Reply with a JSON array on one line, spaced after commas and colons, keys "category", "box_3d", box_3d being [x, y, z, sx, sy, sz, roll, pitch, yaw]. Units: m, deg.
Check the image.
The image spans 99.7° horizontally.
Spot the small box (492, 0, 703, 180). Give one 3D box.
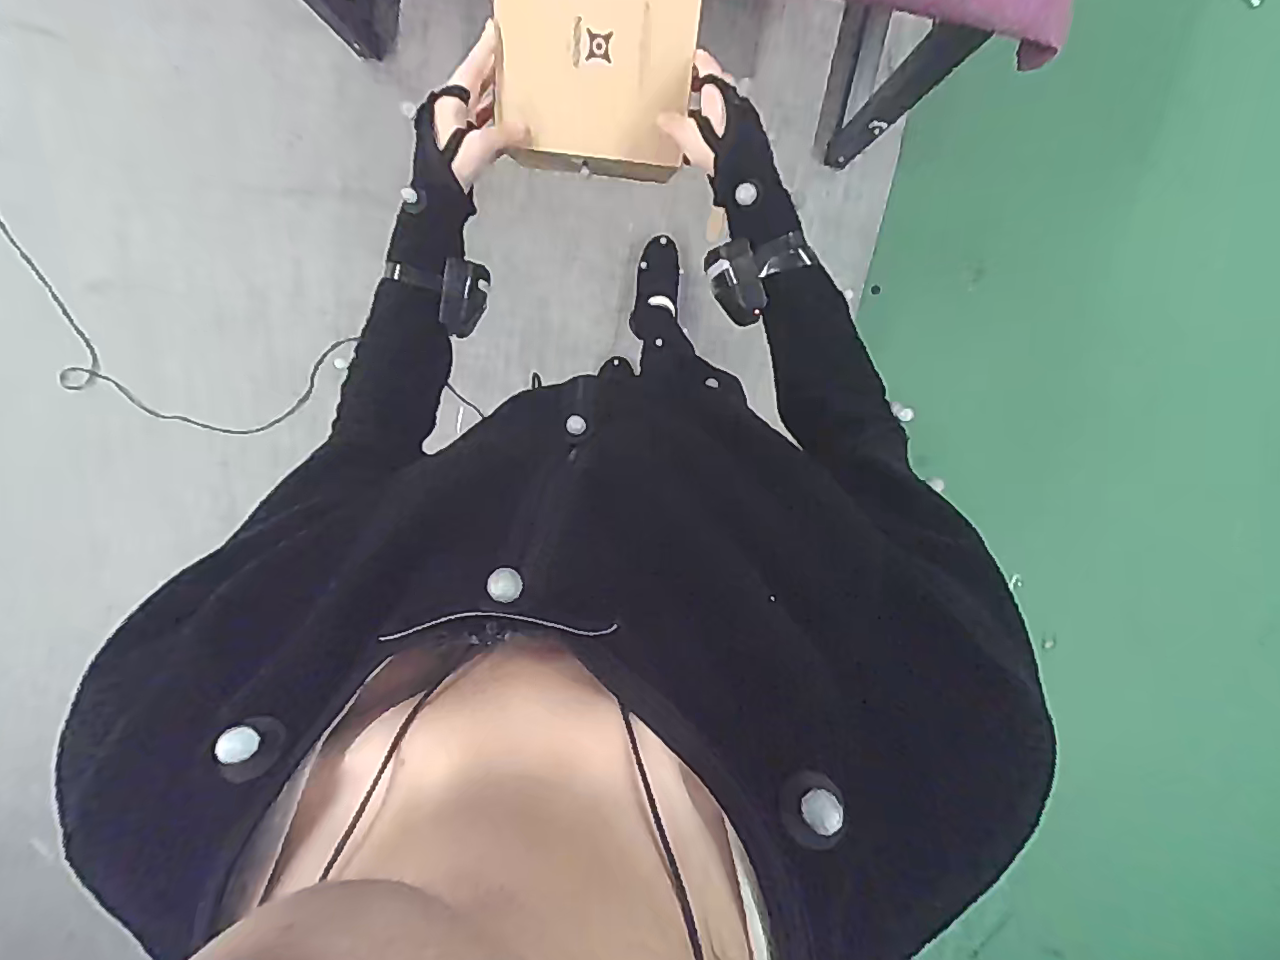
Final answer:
[{"category": "small box", "box_3d": [-0.040, -0.405, 0.536, 0.179, 0.176, 0.168, 5, 114, -5]}]
